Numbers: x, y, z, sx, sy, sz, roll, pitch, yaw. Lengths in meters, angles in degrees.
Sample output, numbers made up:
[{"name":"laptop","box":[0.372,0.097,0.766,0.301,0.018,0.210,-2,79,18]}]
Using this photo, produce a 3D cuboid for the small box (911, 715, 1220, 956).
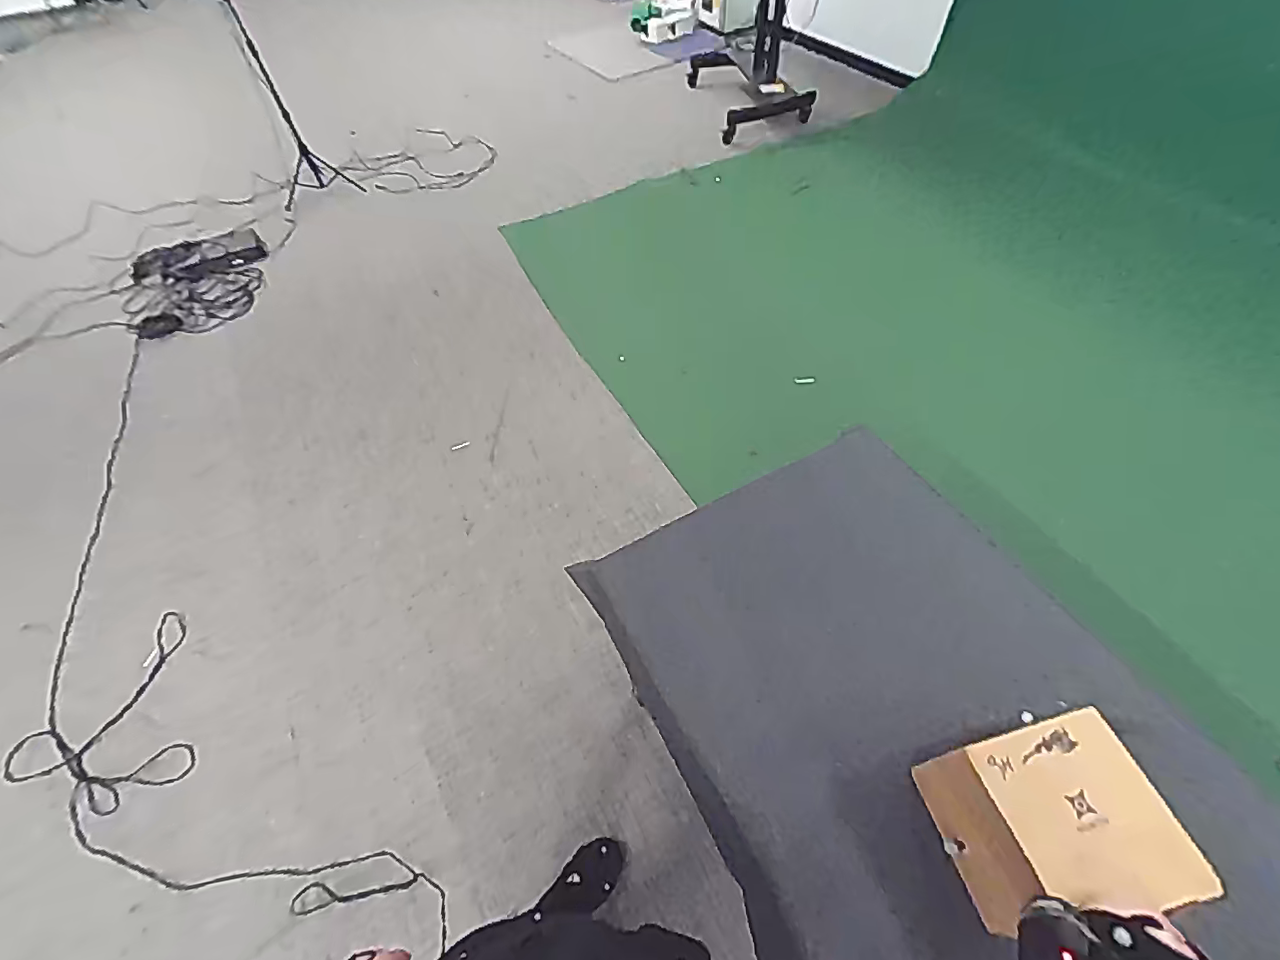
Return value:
[{"name":"small box","box":[0.446,0.389,0.607,0.168,0.176,0.179,-12,55,-7]}]
